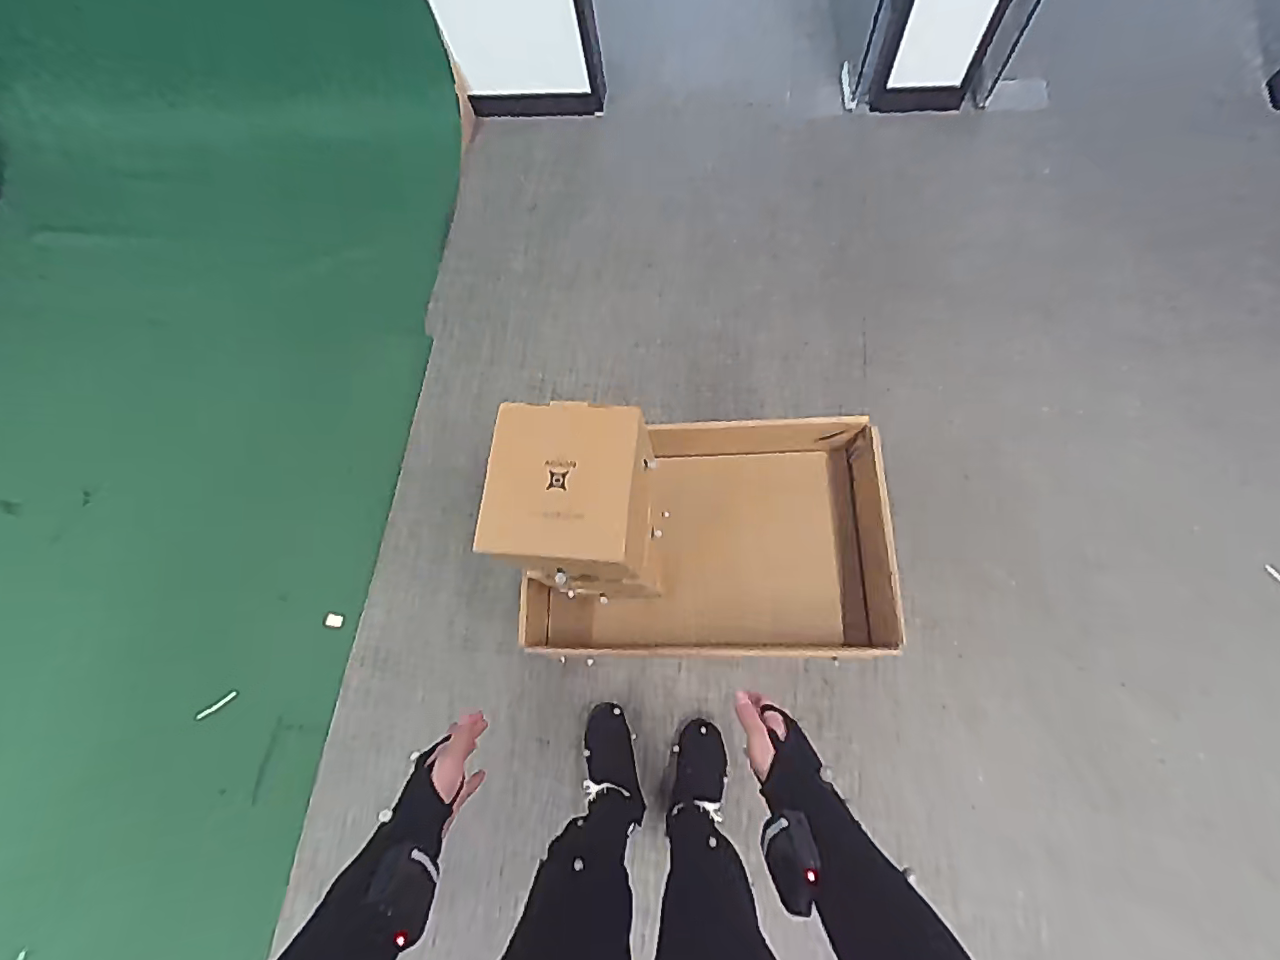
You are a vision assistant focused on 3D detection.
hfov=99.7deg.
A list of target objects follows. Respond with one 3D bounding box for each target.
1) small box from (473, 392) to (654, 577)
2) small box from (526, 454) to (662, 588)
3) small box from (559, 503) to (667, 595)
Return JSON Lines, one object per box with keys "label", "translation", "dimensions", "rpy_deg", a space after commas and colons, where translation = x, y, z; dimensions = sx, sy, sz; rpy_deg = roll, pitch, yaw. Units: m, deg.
{"label": "small box", "translation": [-0.076, 0.012, 0.650], "dimensions": [0.168, 0.176, 0.179], "rpy_deg": [4, 74, 8]}
{"label": "small box", "translation": [-0.056, 0.063, 0.805], "dimensions": [0.168, 0.176, 0.179], "rpy_deg": [3, 73, 7]}
{"label": "small box", "translation": [-0.040, 0.111, 0.960], "dimensions": [0.168, 0.176, 0.179], "rpy_deg": [-1, 73, 6]}
